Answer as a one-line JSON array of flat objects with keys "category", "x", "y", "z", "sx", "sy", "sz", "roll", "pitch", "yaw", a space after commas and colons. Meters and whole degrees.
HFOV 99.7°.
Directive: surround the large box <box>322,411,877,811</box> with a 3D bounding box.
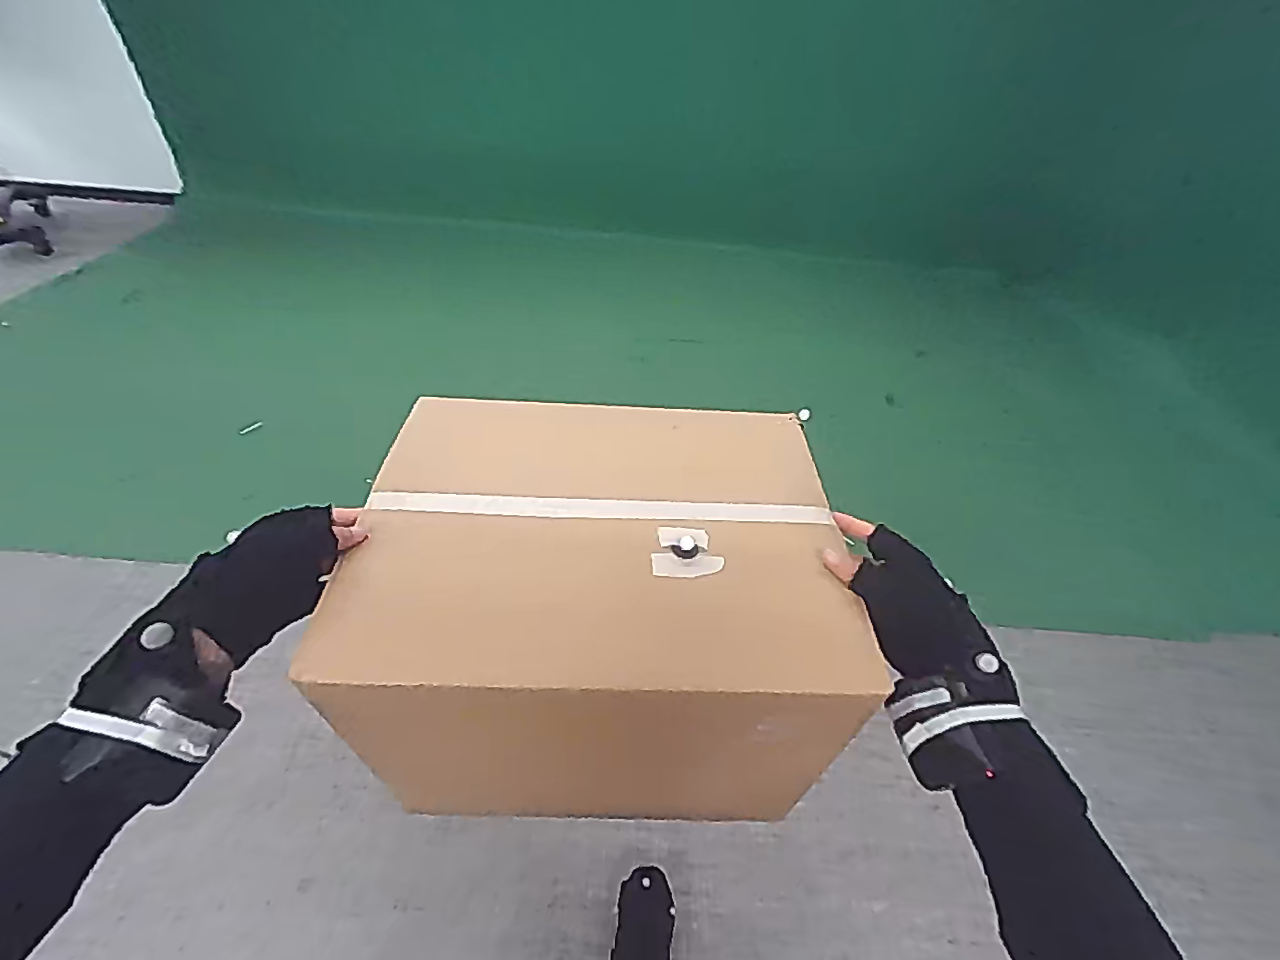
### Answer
[{"category": "large box", "x": -0.036, "y": 0.142, "z": 0.590, "sx": 0.408, "sy": 0.320, "sz": 0.320, "roll": 2, "pitch": 45, "yaw": -3}]
